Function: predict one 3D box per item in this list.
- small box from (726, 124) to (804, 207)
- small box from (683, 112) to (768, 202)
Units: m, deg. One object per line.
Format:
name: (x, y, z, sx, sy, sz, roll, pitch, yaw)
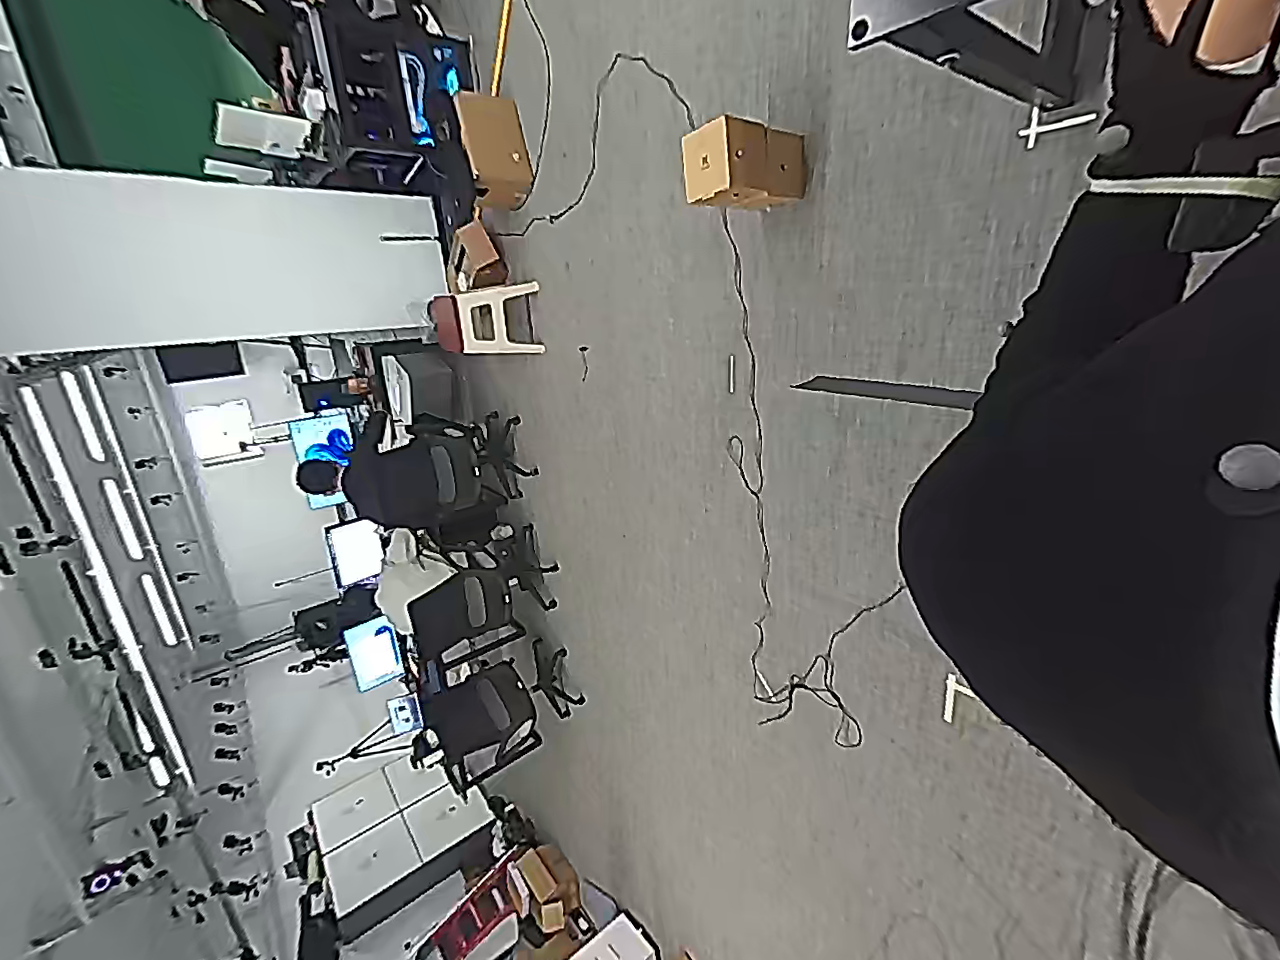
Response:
small box: (0.371, -0.927, 1.609, 0.168, 0.176, 0.179, 15, 117, 50)
small box: (0.242, -0.893, 1.514, 0.168, 0.176, 0.179, 10, 112, 51)
